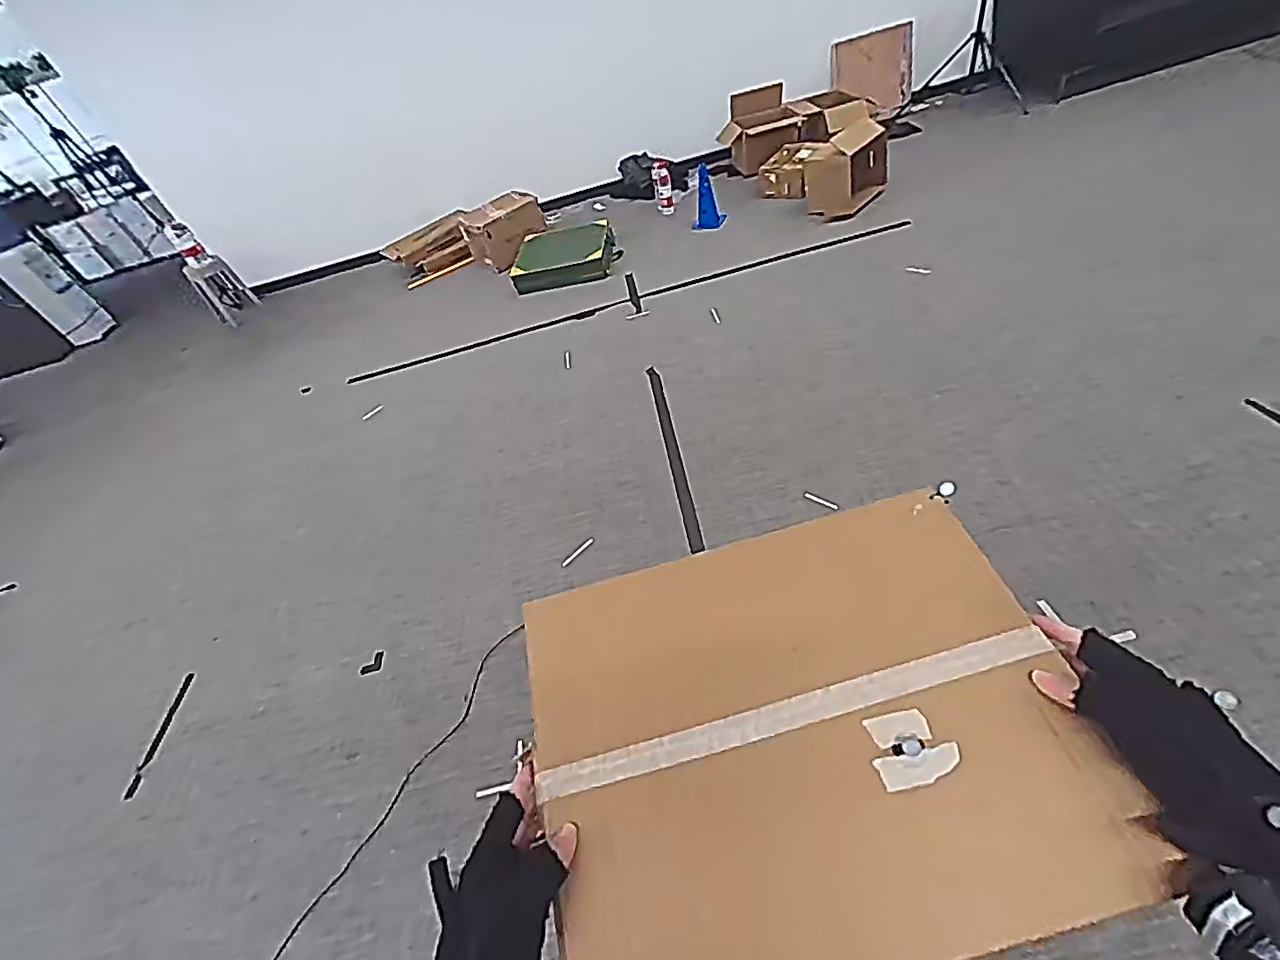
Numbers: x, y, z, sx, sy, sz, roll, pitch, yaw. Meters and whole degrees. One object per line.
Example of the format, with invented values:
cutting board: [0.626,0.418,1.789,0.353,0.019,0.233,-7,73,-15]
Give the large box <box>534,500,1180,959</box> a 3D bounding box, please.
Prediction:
large box: [0.145,0.279,0.546,0.408,0.320,0.320,-16,52,-1]
